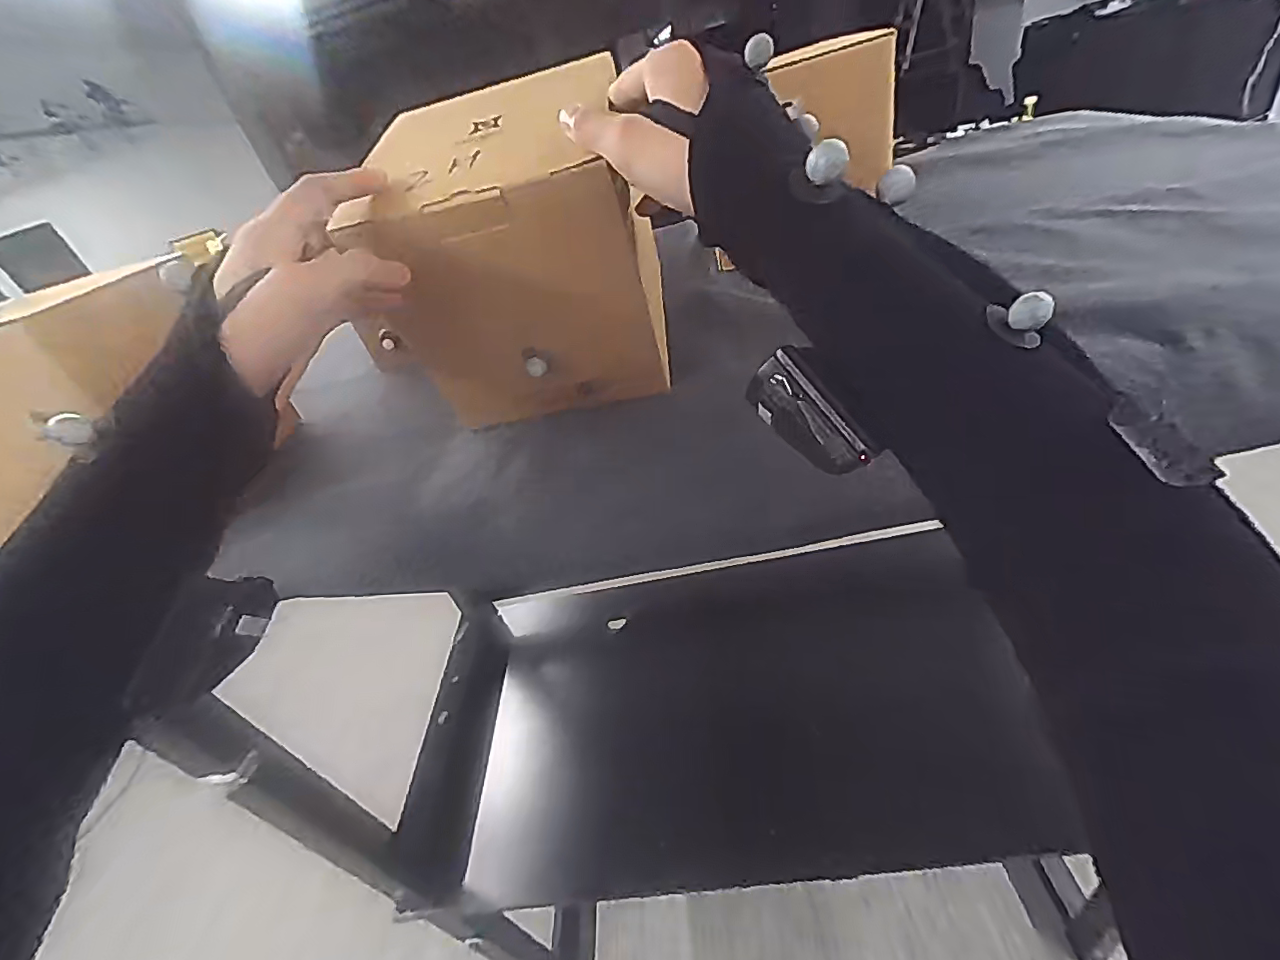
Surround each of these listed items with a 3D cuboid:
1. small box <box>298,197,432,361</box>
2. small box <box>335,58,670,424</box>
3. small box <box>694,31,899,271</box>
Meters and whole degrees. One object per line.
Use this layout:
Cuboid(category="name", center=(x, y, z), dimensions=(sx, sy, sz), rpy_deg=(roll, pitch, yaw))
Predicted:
Cuboid(category="small box", center=(-0.230, -0.250, 0.619), dimensions=(0.168, 0.176, 0.179), rpy_deg=(-12, 35, 8))
Cuboid(category="small box", center=(-0.076, -0.169, 0.402), dimensions=(0.168, 0.176, 0.179), rpy_deg=(-10, 51, 10))
Cuboid(category="small box", center=(0.160, -0.349, 0.582), dimensions=(0.179, 0.176, 0.168), rpy_deg=(-11, 36, 11))
